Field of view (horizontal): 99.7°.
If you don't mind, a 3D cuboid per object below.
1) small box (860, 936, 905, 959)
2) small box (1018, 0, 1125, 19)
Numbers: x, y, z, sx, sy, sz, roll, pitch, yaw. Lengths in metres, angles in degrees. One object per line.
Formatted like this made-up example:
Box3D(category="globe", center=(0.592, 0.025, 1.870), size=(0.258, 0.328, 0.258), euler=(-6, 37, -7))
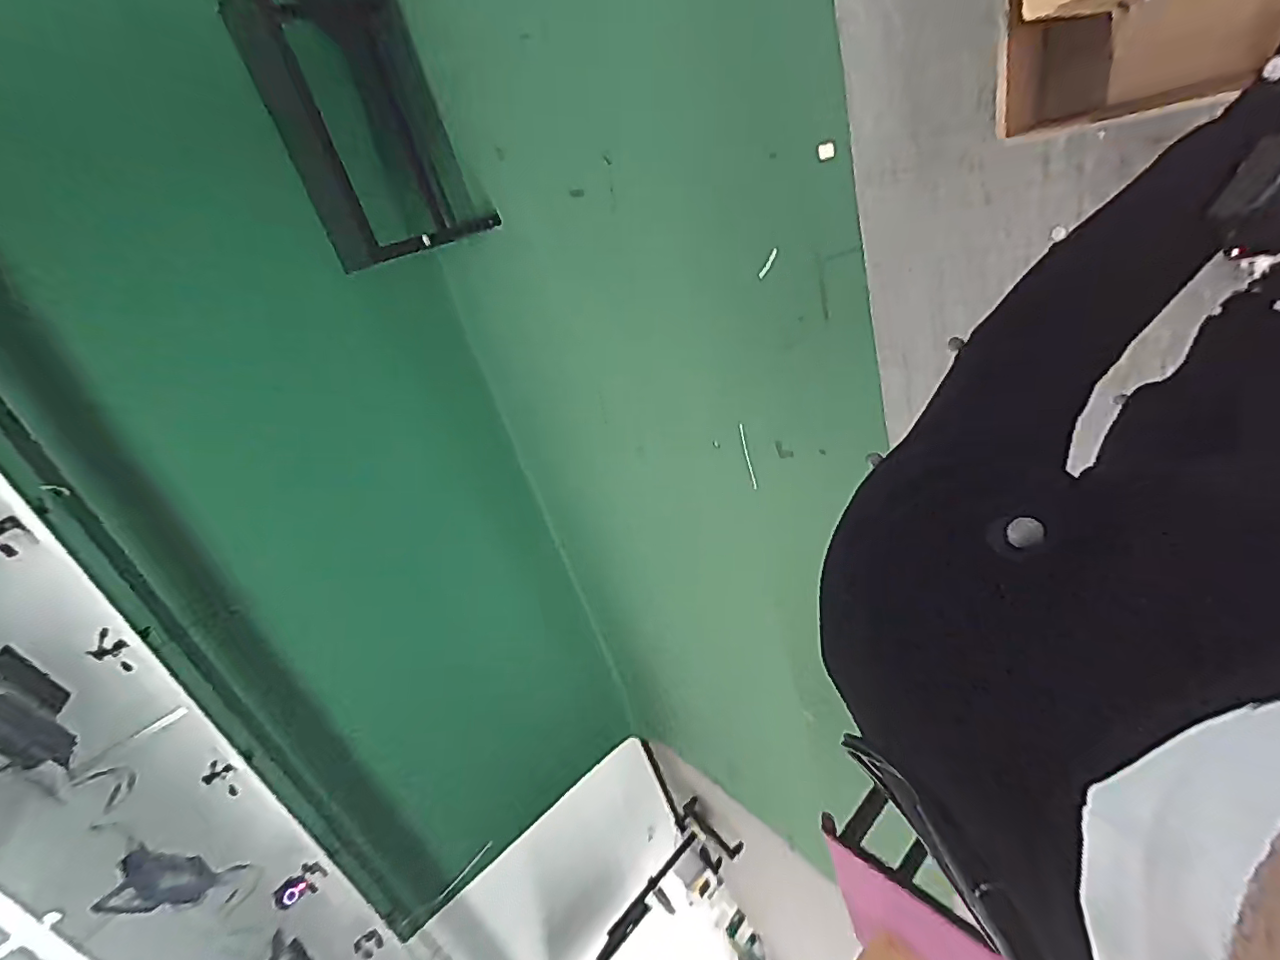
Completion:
Box3D(category="small box", center=(0.830, 1.699, 1.806), size=(0.168, 0.176, 0.179), euler=(12, 127, 51))
Box3D(category="small box", center=(0.486, -0.574, 0.508), size=(0.168, 0.176, 0.179), euler=(18, 132, 49))
